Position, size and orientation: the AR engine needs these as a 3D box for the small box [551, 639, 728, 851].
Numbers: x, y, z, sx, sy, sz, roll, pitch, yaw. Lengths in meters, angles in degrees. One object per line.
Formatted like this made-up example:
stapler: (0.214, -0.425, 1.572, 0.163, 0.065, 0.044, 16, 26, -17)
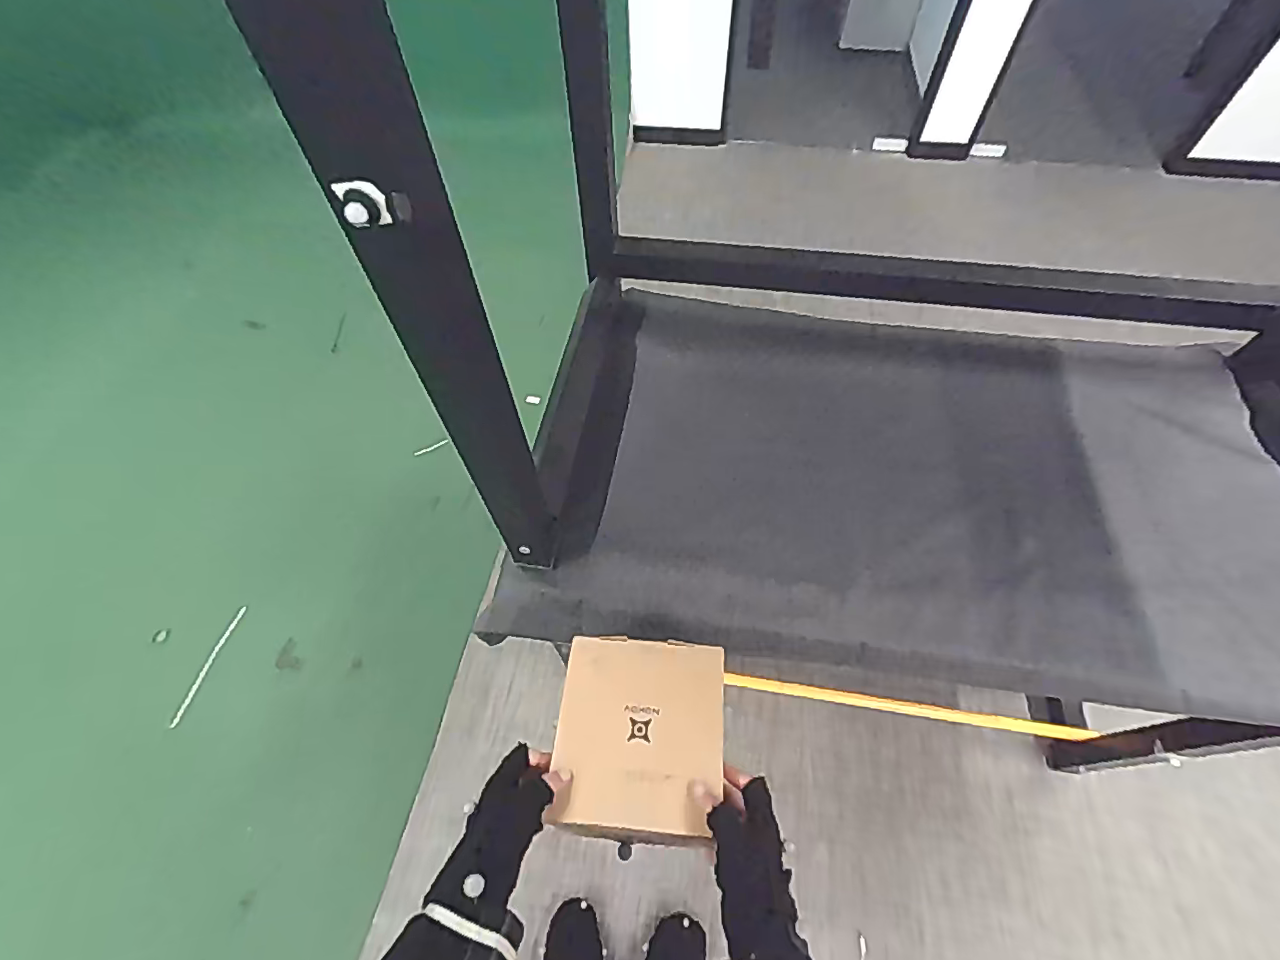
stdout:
small box: (0.009, 0.298, 0.606, 0.168, 0.176, 0.179, 2, 53, 6)
